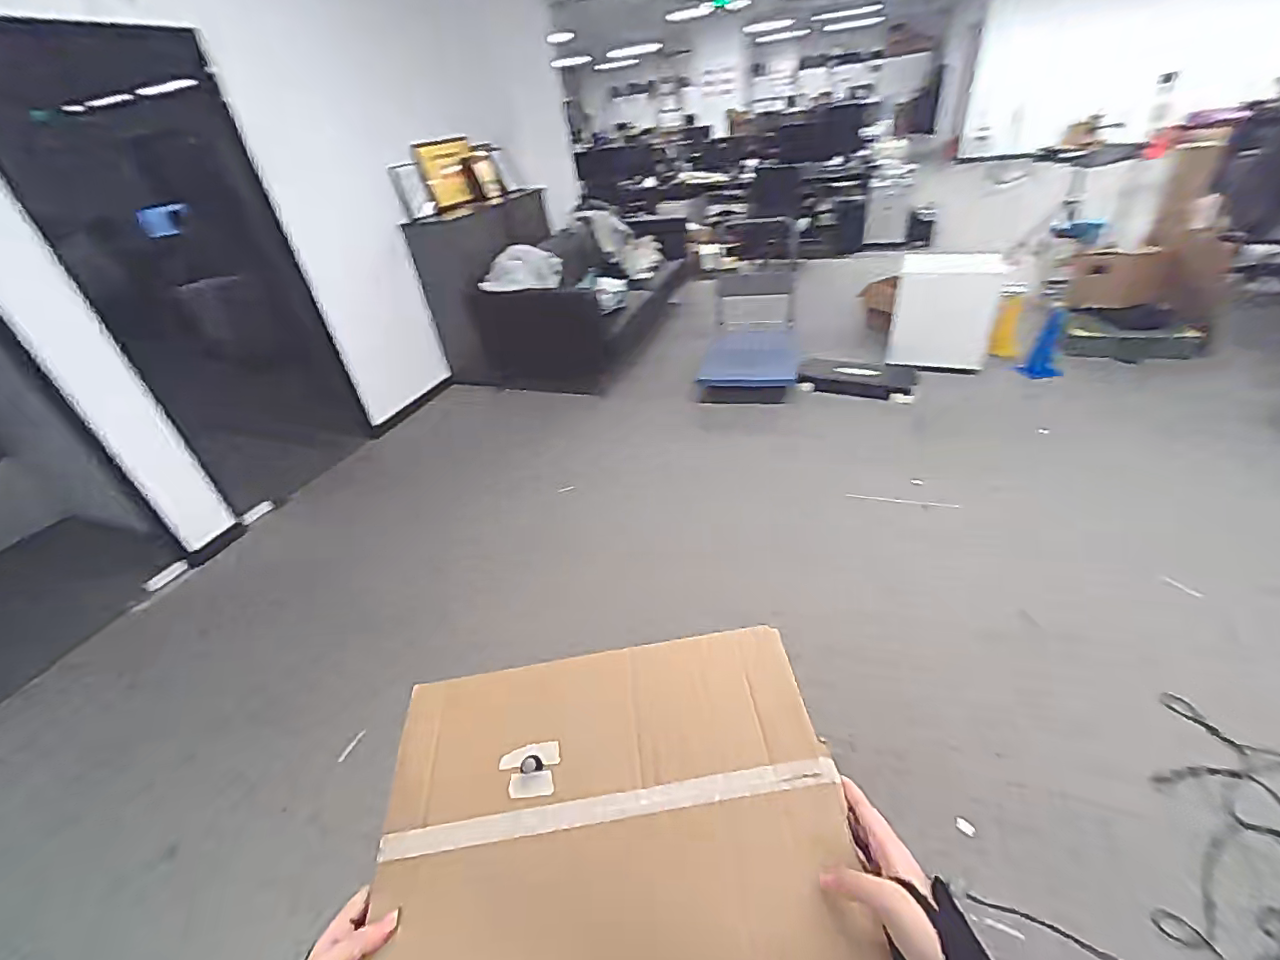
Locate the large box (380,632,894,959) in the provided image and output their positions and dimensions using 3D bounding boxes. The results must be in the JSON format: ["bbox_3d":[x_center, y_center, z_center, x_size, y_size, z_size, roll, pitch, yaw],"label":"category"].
[{"bbox_3d":[0.000,0.413,0.586,0.408,0.320,0.320,-11,41,2],"label":"large box"}]
